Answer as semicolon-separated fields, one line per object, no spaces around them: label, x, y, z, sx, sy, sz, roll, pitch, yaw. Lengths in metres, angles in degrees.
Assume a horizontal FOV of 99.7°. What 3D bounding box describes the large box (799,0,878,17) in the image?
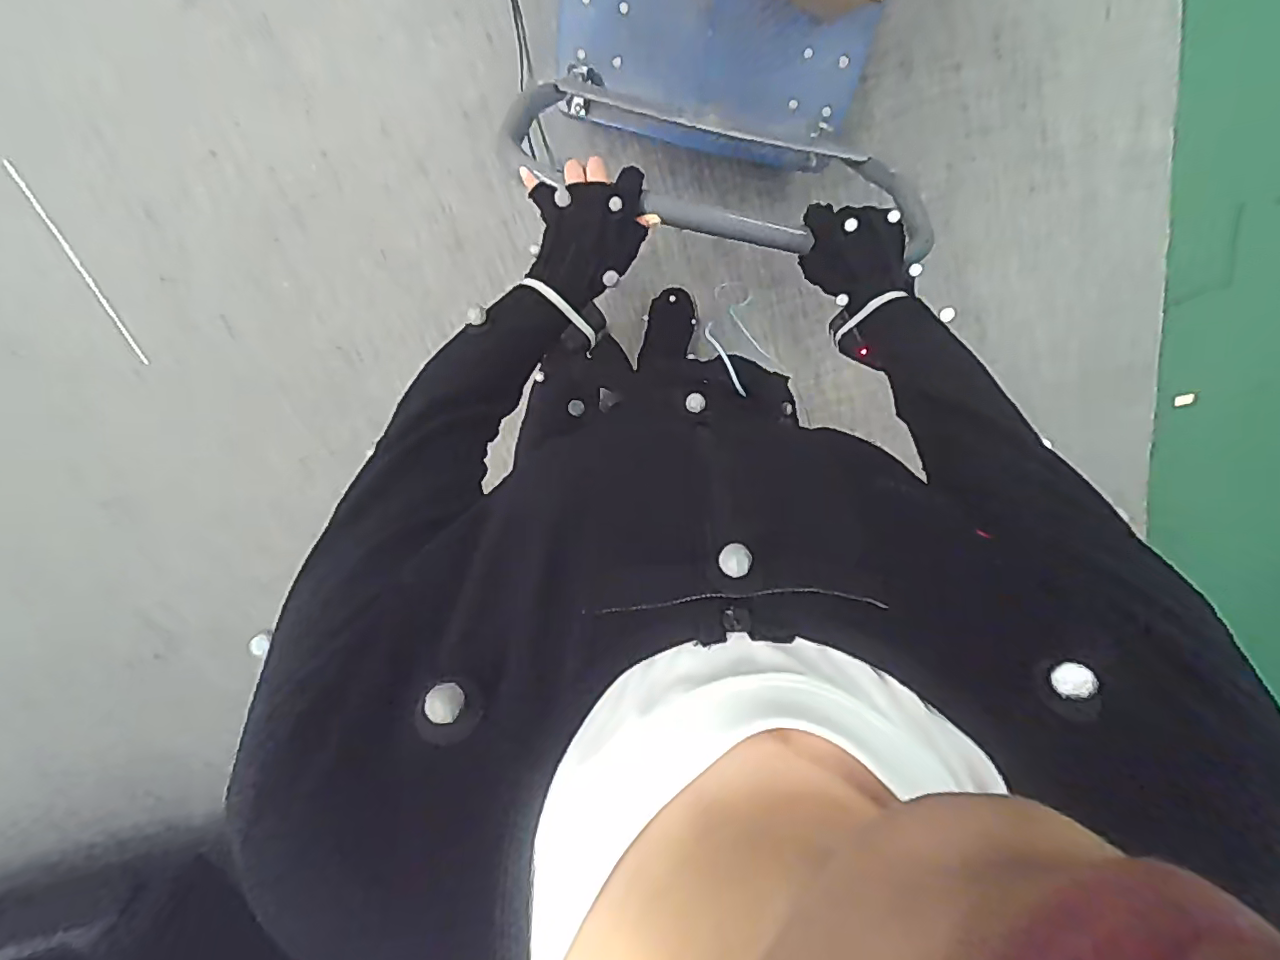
large box;0.222;-0.927;0.742;0.408;0.320;0.320;23;124;-12
